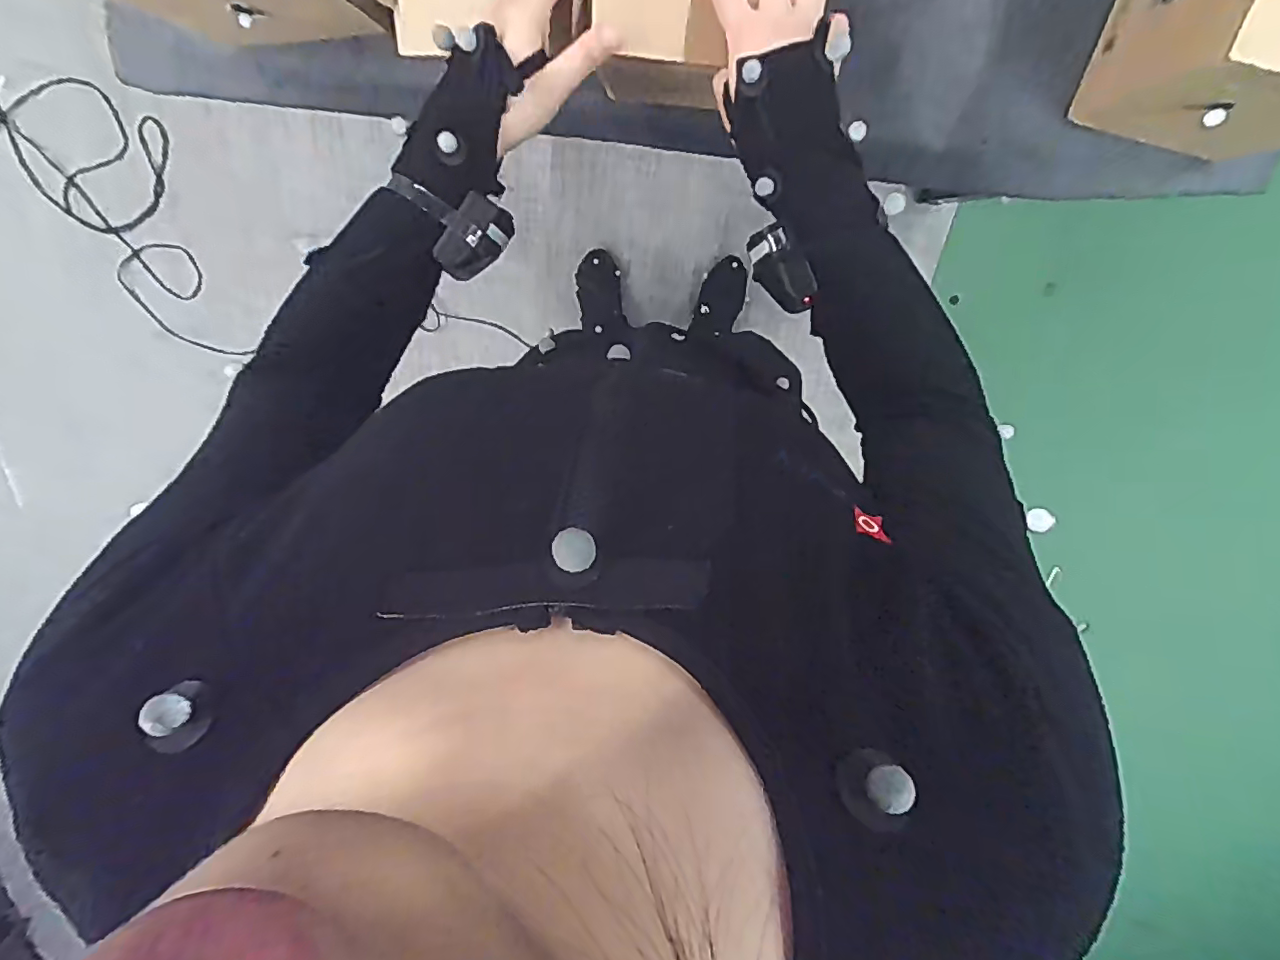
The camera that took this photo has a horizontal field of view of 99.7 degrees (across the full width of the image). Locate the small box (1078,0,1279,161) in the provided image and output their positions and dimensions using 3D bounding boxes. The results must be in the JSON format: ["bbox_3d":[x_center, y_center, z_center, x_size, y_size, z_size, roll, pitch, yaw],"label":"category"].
[{"bbox_3d":[0.544,-0.397,0.466,0.179,0.176,0.168,13,110,-3],"label":"small box"}]

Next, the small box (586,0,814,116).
[{"bbox_3d":[0.054,-0.432,0.472,0.179,0.176,0.168,5,116,1],"label":"small box"}]

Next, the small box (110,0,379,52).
[{"bbox_3d":[-0.348,-0.493,0.458,0.179,0.176,0.168,-3,115,4],"label":"small box"}]
